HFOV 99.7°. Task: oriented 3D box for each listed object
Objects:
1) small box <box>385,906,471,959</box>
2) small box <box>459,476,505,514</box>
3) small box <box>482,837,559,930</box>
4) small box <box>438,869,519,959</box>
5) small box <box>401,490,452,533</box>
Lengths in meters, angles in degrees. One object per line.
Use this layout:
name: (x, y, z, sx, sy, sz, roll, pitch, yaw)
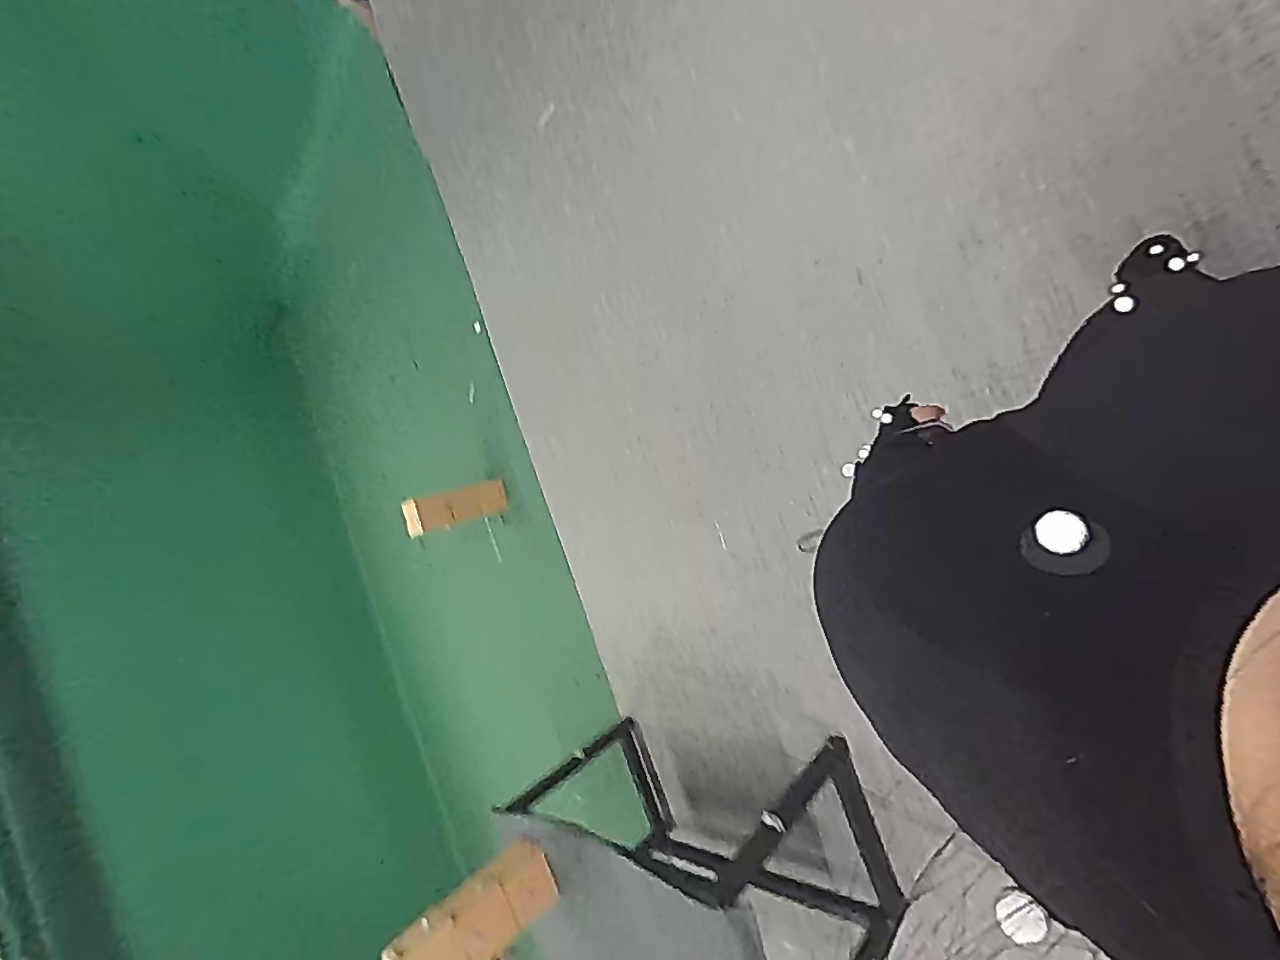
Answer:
small box: (-0.635, 1.453, 1.637, 0.168, 0.176, 0.179, -31, 83, 43)
small box: (-0.852, 0.083, 2.944, 0.179, 0.176, 0.168, -10, 95, 46)
small box: (-0.411, 1.382, 1.867, 0.168, 0.176, 0.179, -21, 91, 45)
small box: (-0.521, 1.419, 1.752, 0.168, 0.176, 0.179, -27, 85, 44)
small box: (-1.068, 0.158, 2.708, 0.179, 0.176, 0.168, -16, 90, 47)
